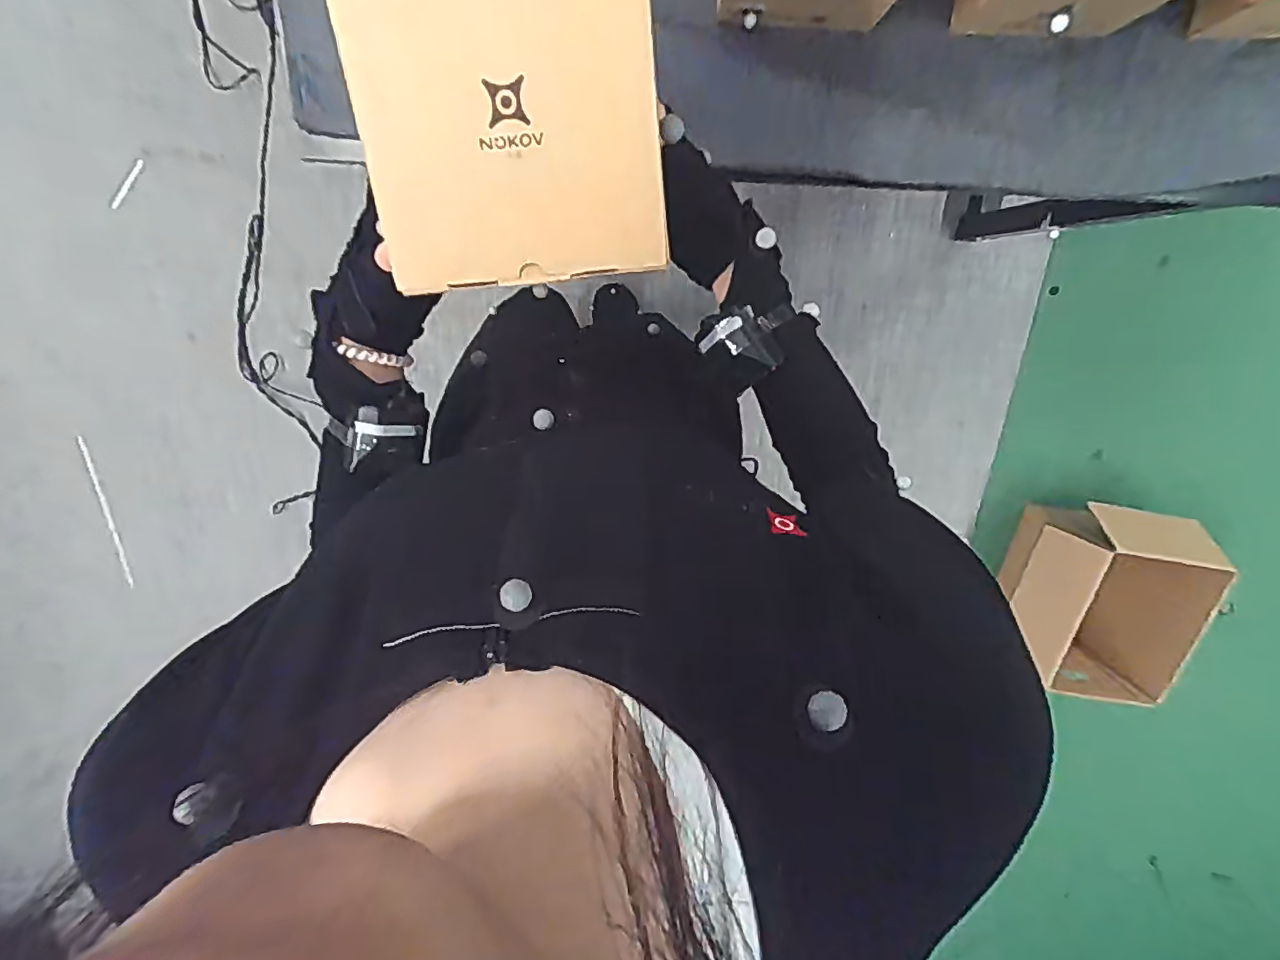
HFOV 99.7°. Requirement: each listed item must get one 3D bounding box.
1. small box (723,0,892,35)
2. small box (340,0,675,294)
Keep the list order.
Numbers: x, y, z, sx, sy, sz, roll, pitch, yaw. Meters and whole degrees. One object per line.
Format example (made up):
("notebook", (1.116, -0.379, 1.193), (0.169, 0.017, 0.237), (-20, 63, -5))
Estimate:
("small box", (0.167, -0.527, 0.468), (0.168, 0.176, 0.179), (3, 108, -1))
("small box", (-0.071, -0.227, 0.370), (0.168, 0.176, 0.179), (-6, 111, 0))
